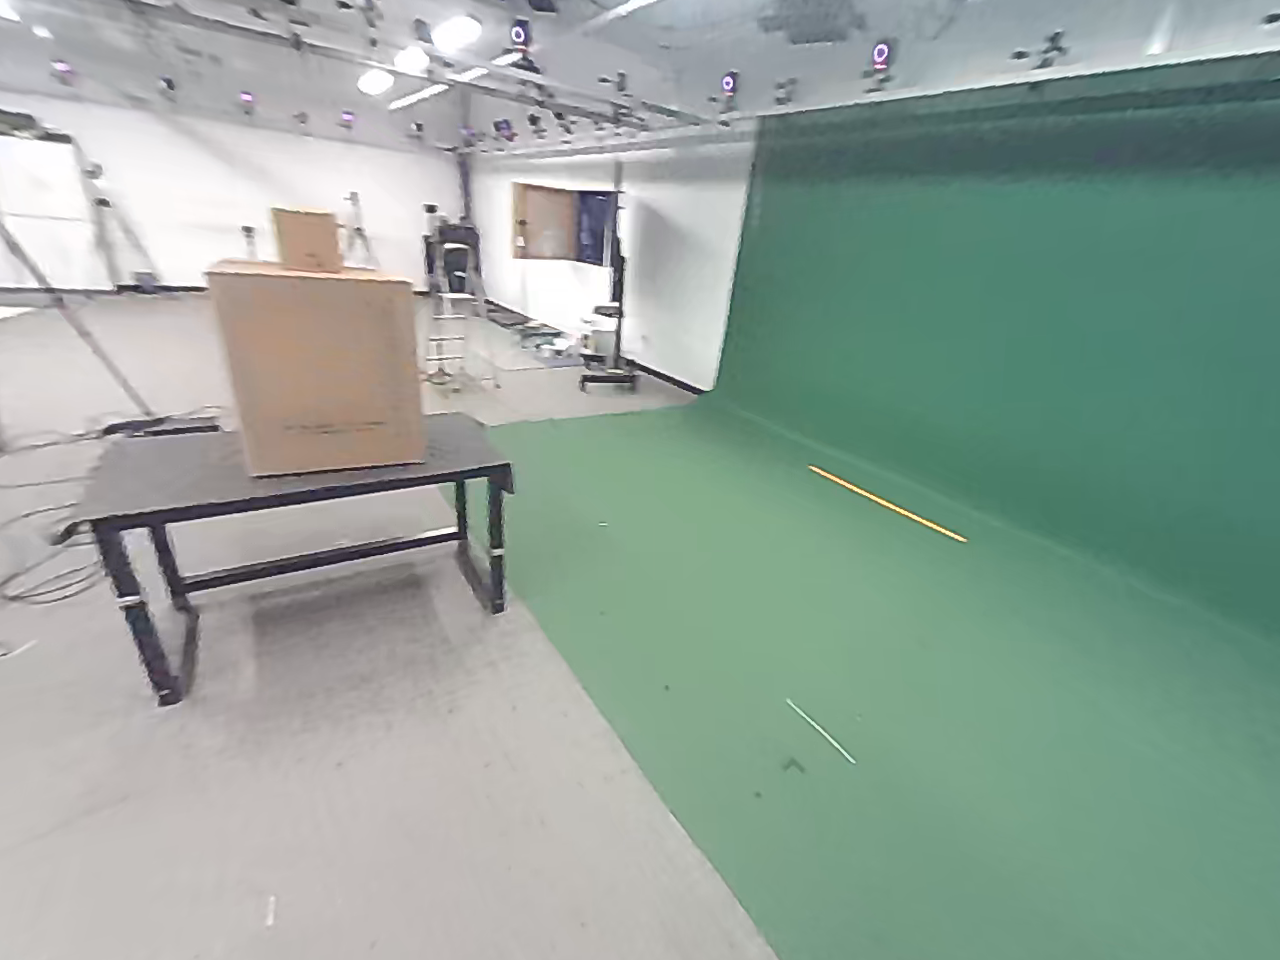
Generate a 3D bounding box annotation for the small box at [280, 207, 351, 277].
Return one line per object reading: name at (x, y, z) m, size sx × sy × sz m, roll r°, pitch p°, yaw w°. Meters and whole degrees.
small box at (-0.992, -0.732, 1.663) m, size 0.168 × 0.176 × 0.179 m, roll -6°, pitch 29°, yaw -26°
